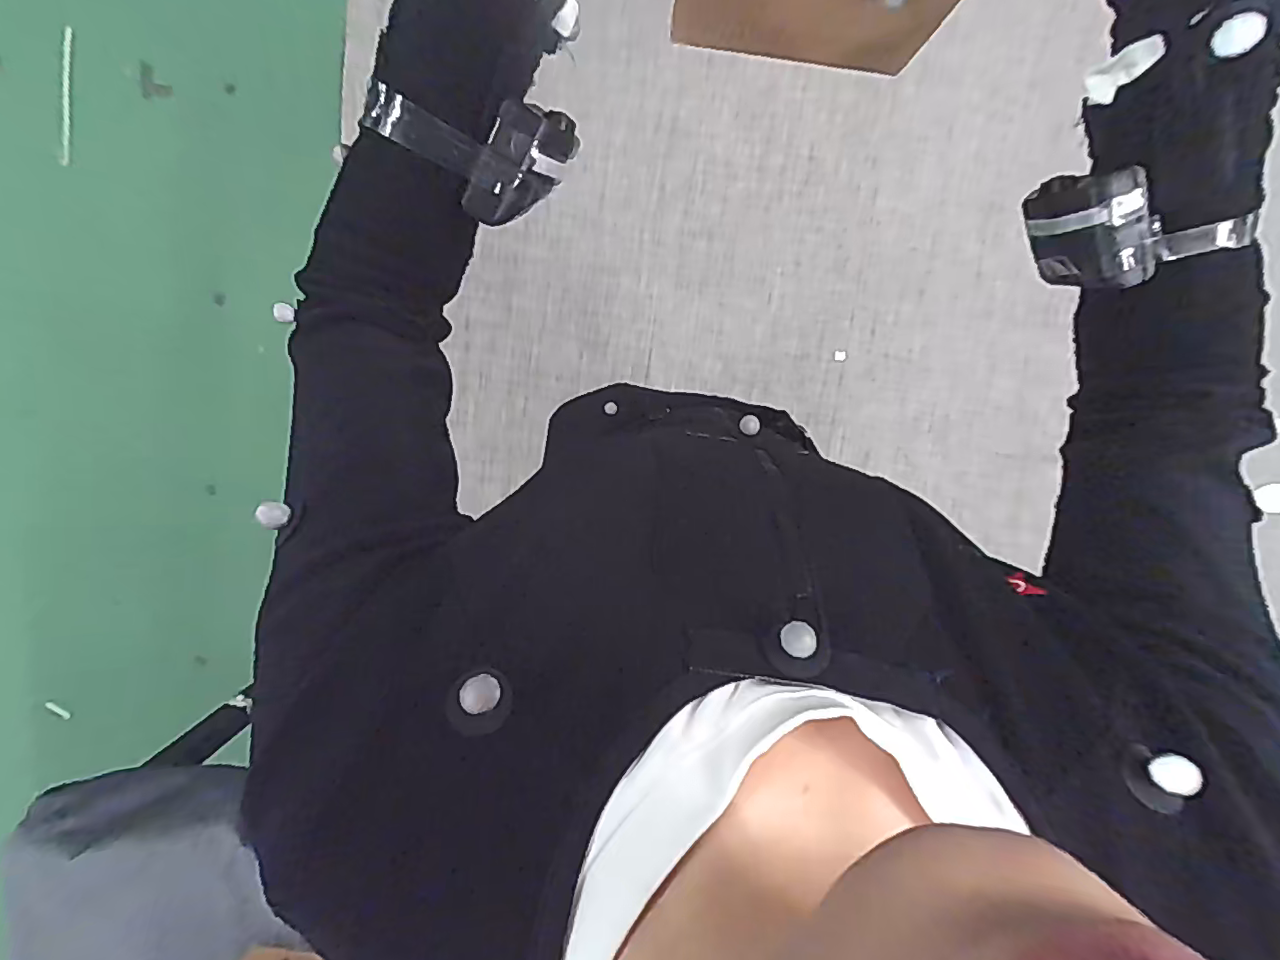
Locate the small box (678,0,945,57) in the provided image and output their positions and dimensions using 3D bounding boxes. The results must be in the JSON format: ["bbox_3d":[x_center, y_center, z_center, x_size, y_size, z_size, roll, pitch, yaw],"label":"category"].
[{"bbox_3d":[0.123,-0.386,0.310,0.179,0.176,0.168,6,98,-2],"label":"small box"}]
